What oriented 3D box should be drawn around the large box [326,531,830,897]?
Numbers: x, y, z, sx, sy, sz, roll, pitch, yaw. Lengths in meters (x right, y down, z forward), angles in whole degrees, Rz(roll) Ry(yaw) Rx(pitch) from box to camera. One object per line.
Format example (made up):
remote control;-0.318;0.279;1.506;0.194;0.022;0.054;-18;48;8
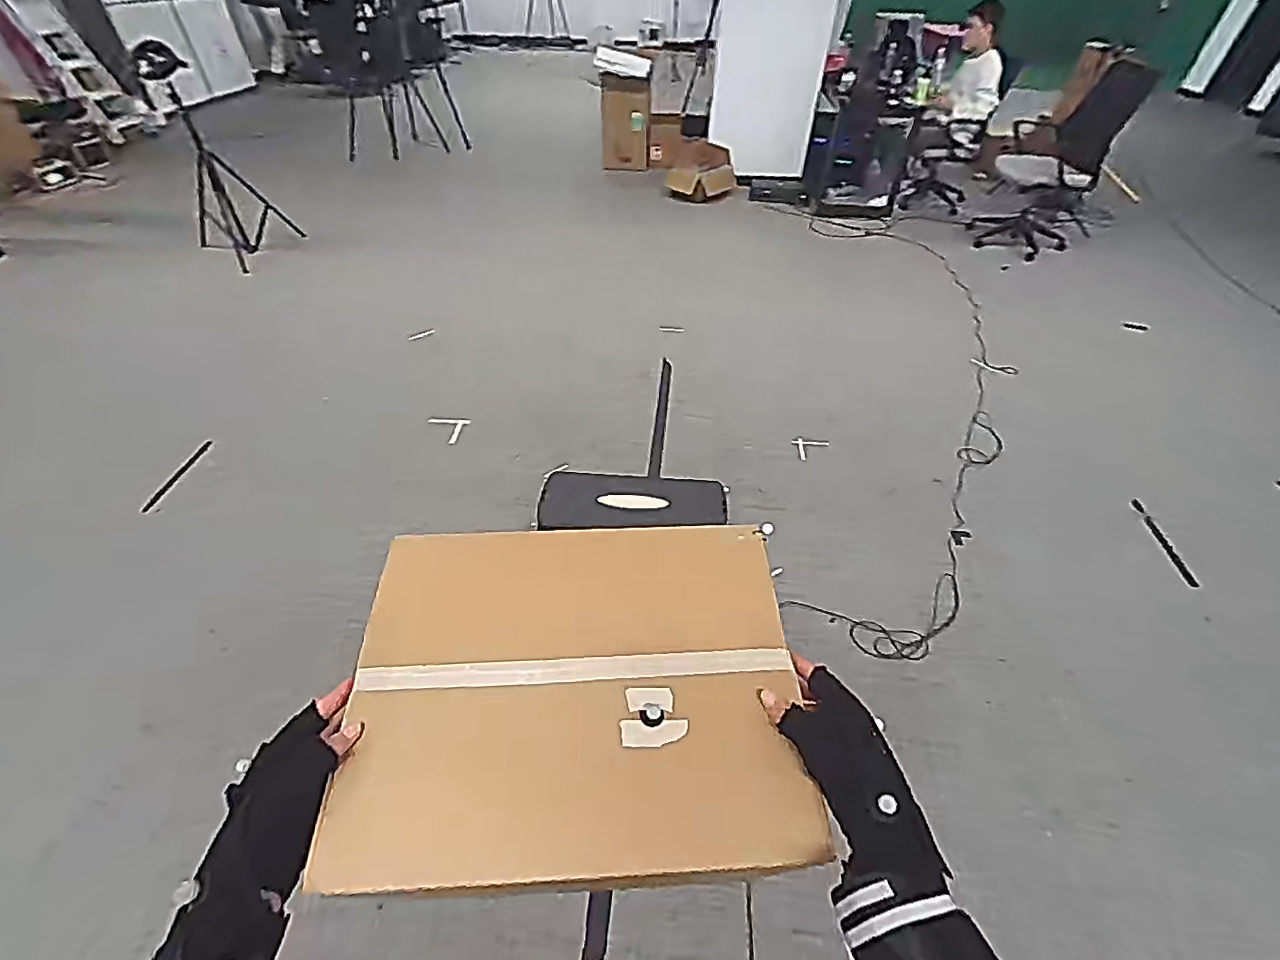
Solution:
large box;-0.057;0.274;0.629;0.408;0.320;0.320;0;52;-3
